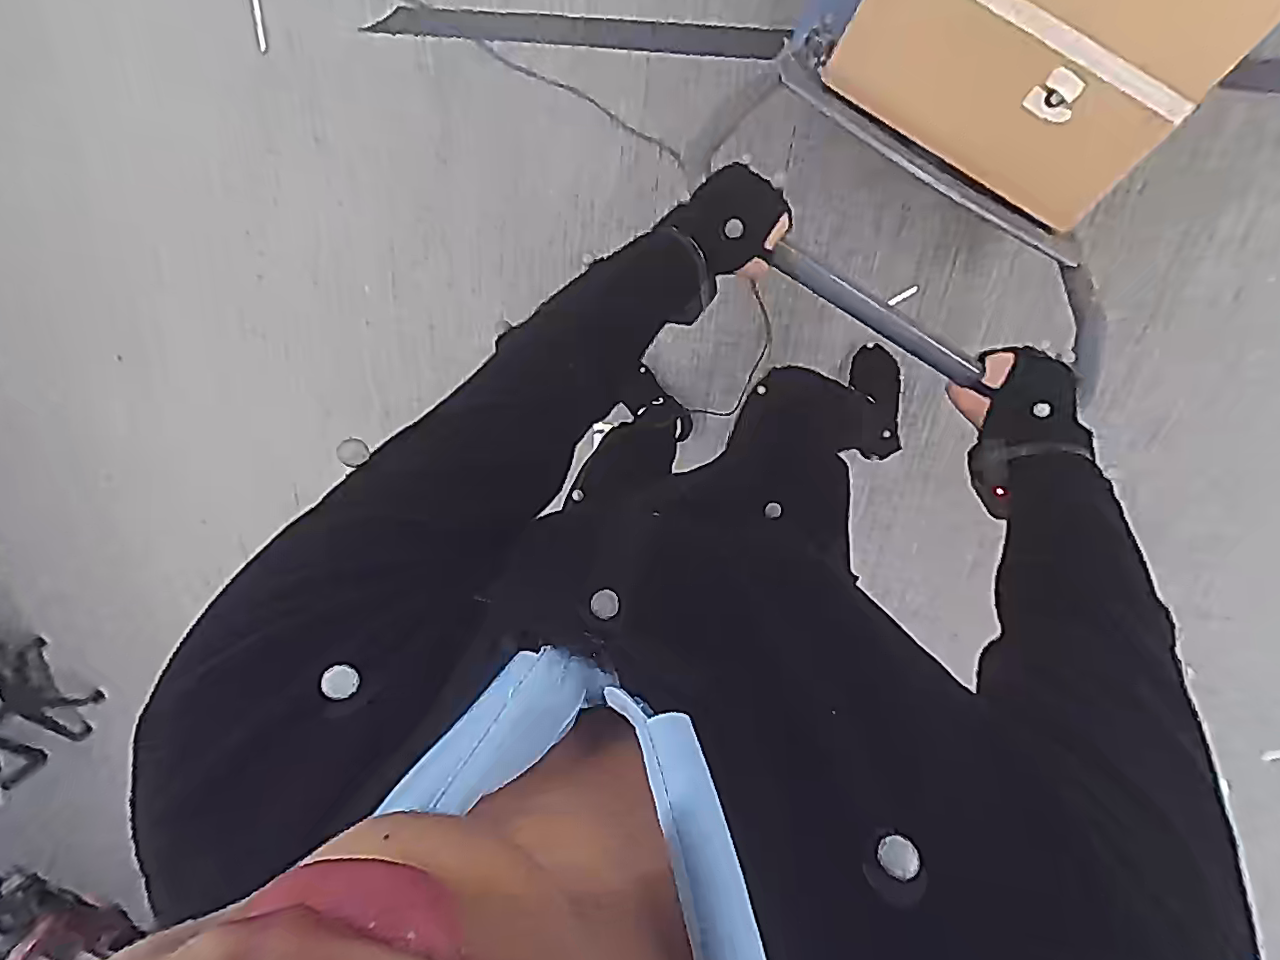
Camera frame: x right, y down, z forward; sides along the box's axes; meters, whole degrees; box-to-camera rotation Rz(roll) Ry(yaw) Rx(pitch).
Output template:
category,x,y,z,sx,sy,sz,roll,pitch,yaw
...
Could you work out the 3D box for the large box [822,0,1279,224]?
category,x,y,z,sx,sy,sz,roll,pitch,yaw
large box,0.528,-0.641,0.756,0.408,0.320,0.320,31,136,-1
